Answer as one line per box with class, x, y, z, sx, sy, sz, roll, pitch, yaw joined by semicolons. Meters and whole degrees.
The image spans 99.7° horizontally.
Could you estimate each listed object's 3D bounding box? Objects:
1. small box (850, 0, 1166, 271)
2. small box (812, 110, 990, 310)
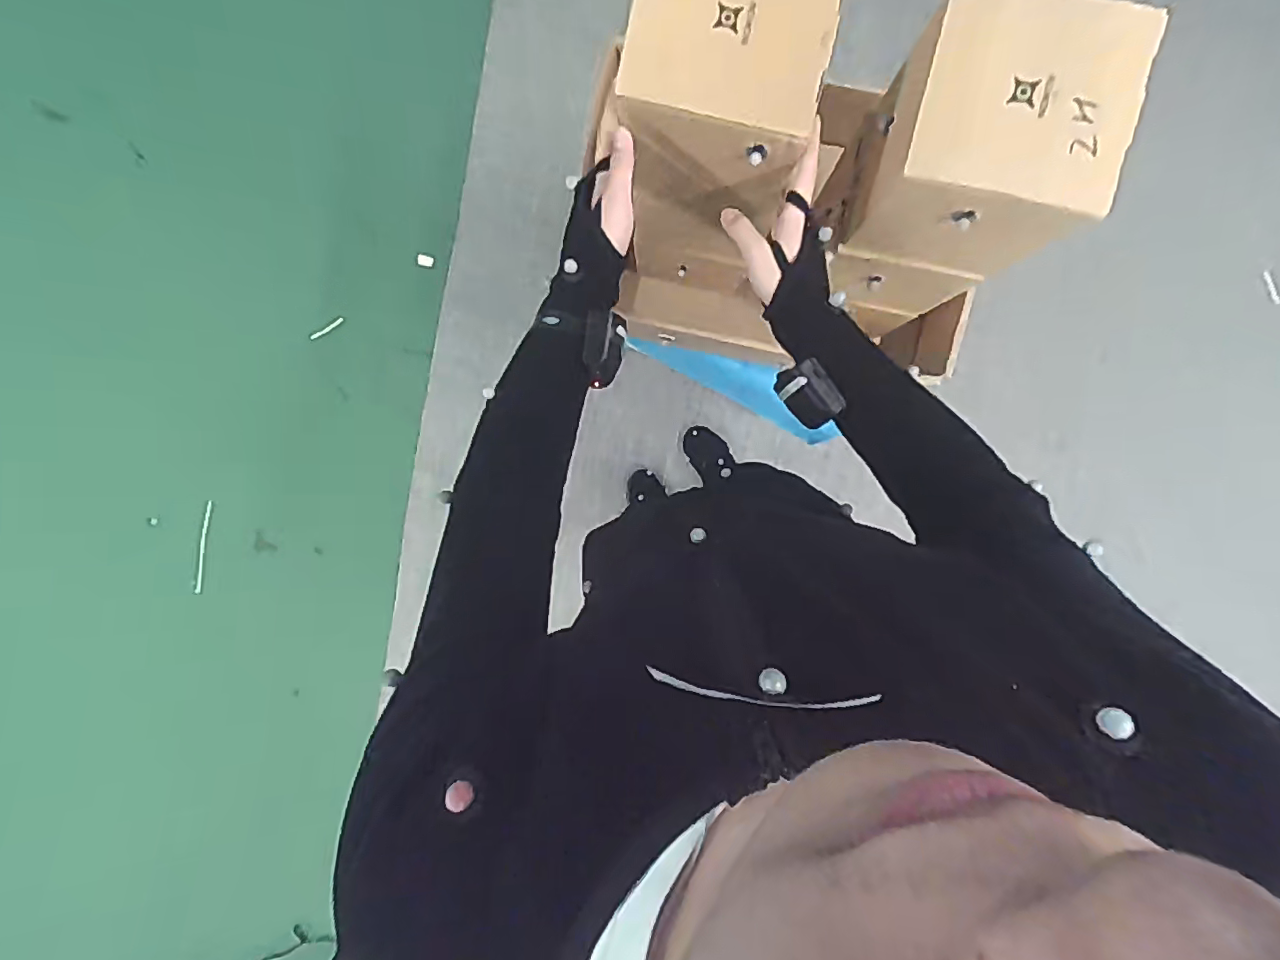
small box;0.328;-0.322;0.527;0.179;0.176;0.168;14;96;4
small box;0.335;-0.329;0.692;0.179;0.176;0.168;12;95;5
